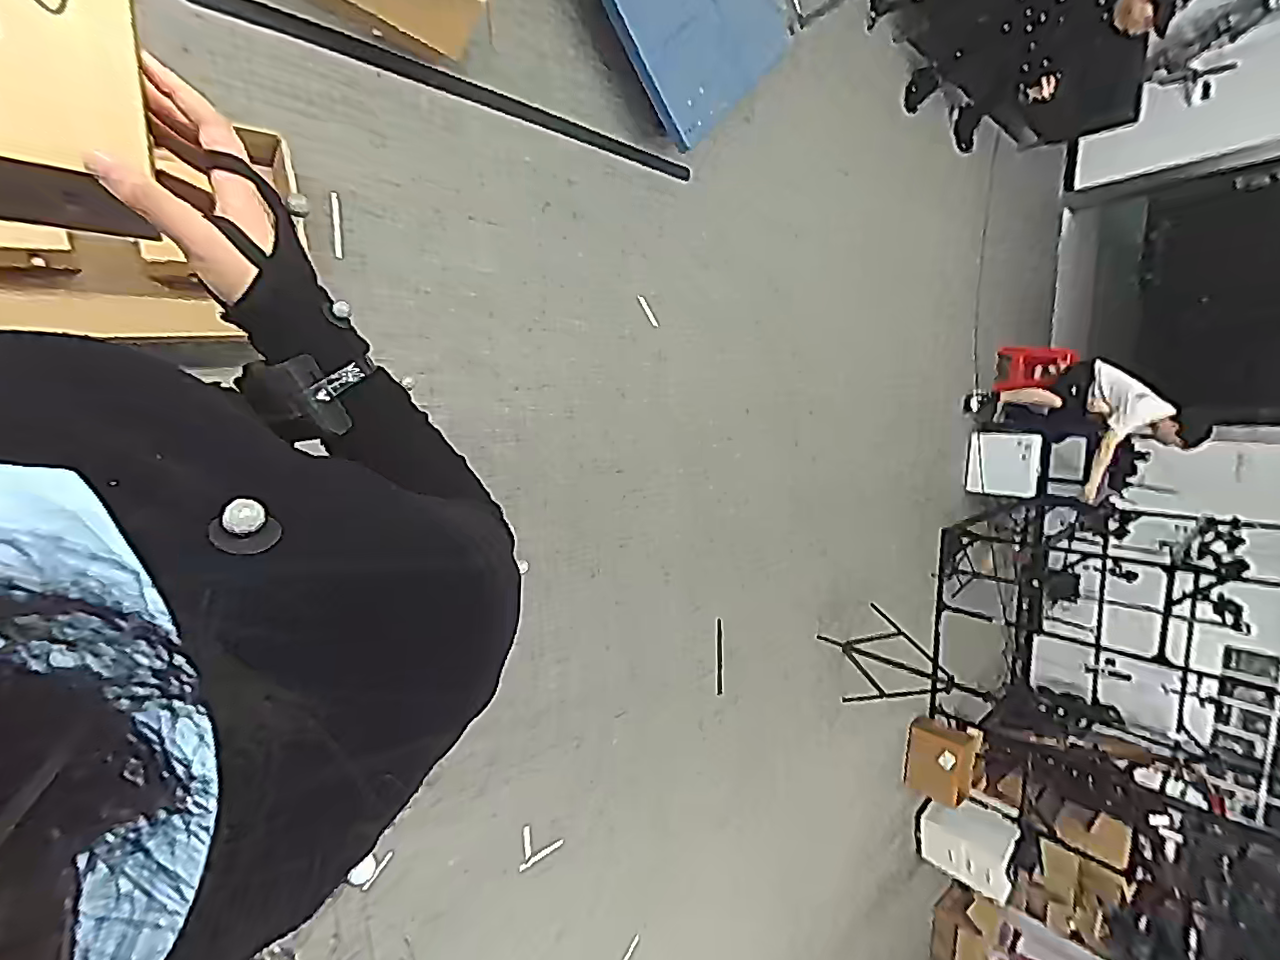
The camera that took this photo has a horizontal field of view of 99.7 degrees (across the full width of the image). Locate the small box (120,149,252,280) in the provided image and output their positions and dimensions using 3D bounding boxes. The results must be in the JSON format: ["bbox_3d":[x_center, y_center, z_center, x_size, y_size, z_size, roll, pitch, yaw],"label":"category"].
[{"bbox_3d":[-0.870,-0.497,1.042,0.168,0.176,0.179,-12,104,-38],"label":"small box"}]

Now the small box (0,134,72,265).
[{"bbox_3d":[-1.065,-0.453,0.876,0.179,0.176,0.168,-15,105,-40],"label":"small box"}]
